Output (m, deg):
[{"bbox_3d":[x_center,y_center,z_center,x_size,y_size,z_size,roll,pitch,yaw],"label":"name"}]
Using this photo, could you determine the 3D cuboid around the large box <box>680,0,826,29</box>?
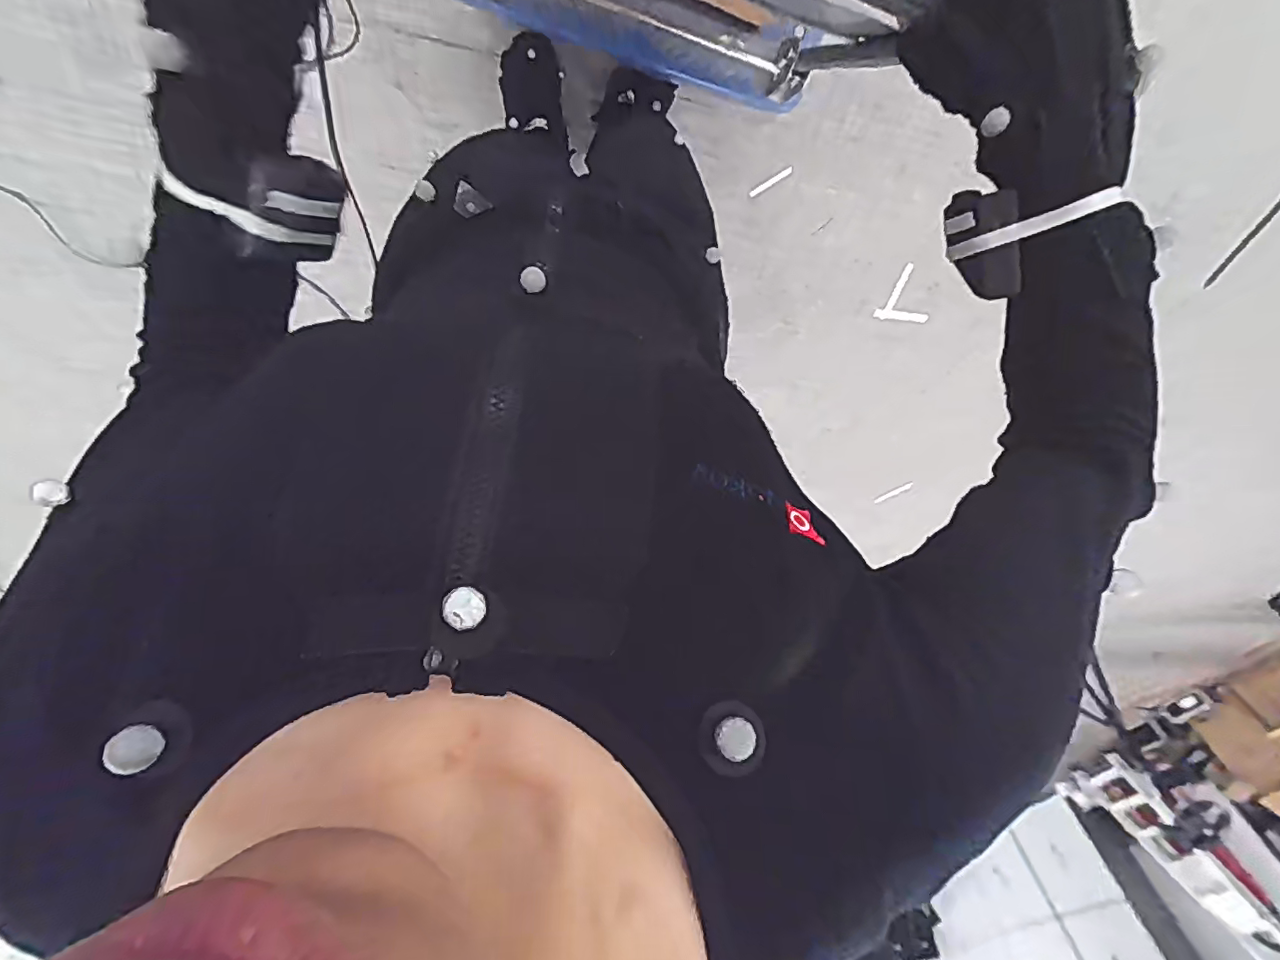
[{"bbox_3d":[0.061,-0.765,0.586,0.408,0.320,0.320,7,121,-18],"label":"large box"}]
